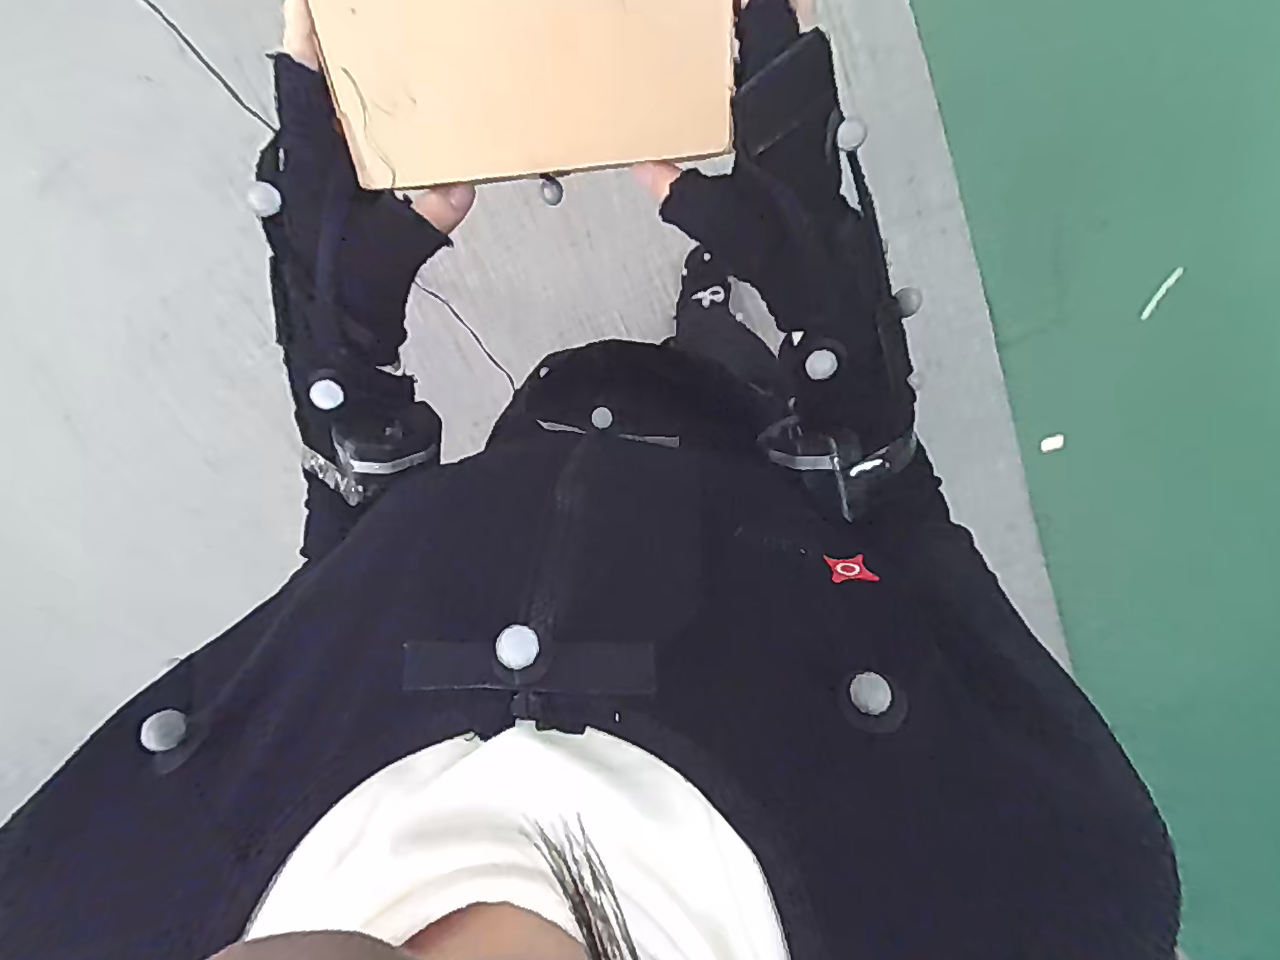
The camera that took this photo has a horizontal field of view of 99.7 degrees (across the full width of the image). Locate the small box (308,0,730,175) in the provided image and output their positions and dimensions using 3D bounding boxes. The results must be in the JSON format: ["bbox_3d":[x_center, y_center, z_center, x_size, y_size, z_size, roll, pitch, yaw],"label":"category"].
[{"bbox_3d":[-0.050,-0.257,0.276,0.179,0.176,0.168,-4,120,5],"label":"small box"}]
